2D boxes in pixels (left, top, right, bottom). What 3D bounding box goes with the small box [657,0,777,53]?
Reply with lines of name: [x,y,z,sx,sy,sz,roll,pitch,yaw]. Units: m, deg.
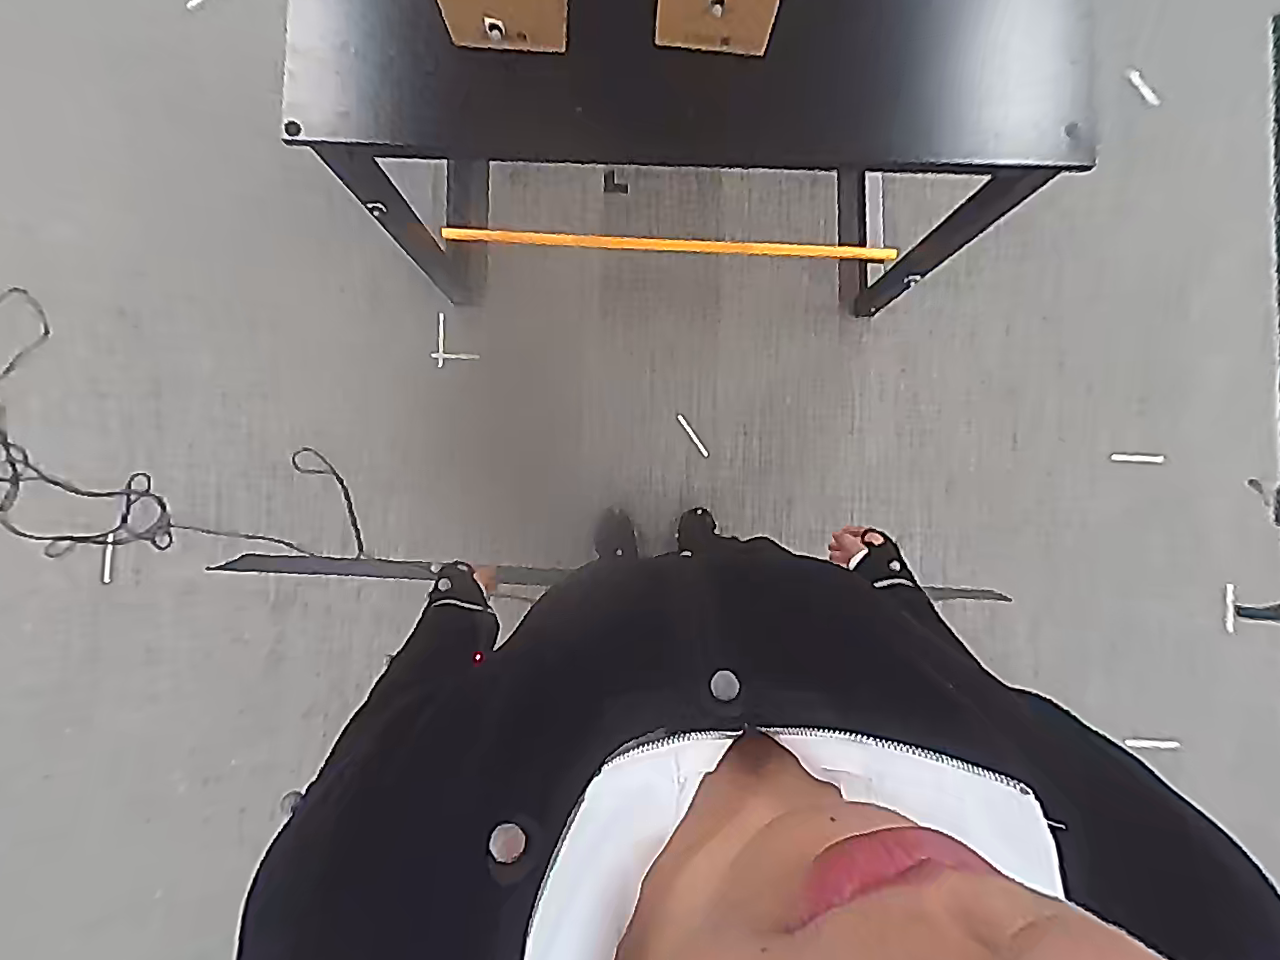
small box: [0.112,-0.730,0.733,0.168,0.176,0.179,5,88,-1]

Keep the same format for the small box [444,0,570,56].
small box: [-0.186,-0.726,0.728,0.168,0.176,0.179,1,88,0]
